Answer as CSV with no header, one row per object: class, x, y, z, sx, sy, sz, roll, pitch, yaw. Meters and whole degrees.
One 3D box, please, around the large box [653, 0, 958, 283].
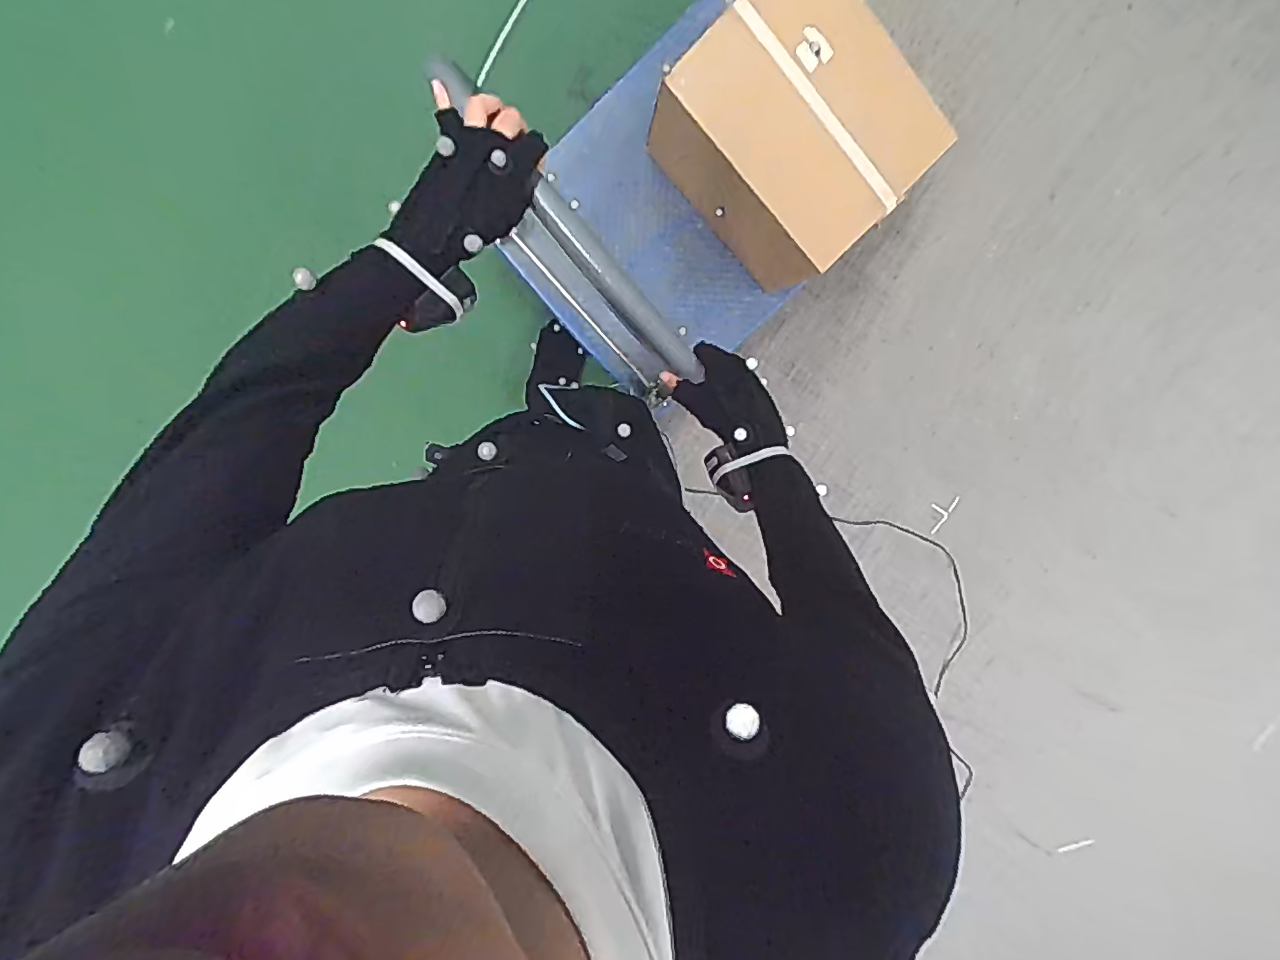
large box,0.278,-0.645,1.021,0.320,0.320,0.408,-45,102,6
